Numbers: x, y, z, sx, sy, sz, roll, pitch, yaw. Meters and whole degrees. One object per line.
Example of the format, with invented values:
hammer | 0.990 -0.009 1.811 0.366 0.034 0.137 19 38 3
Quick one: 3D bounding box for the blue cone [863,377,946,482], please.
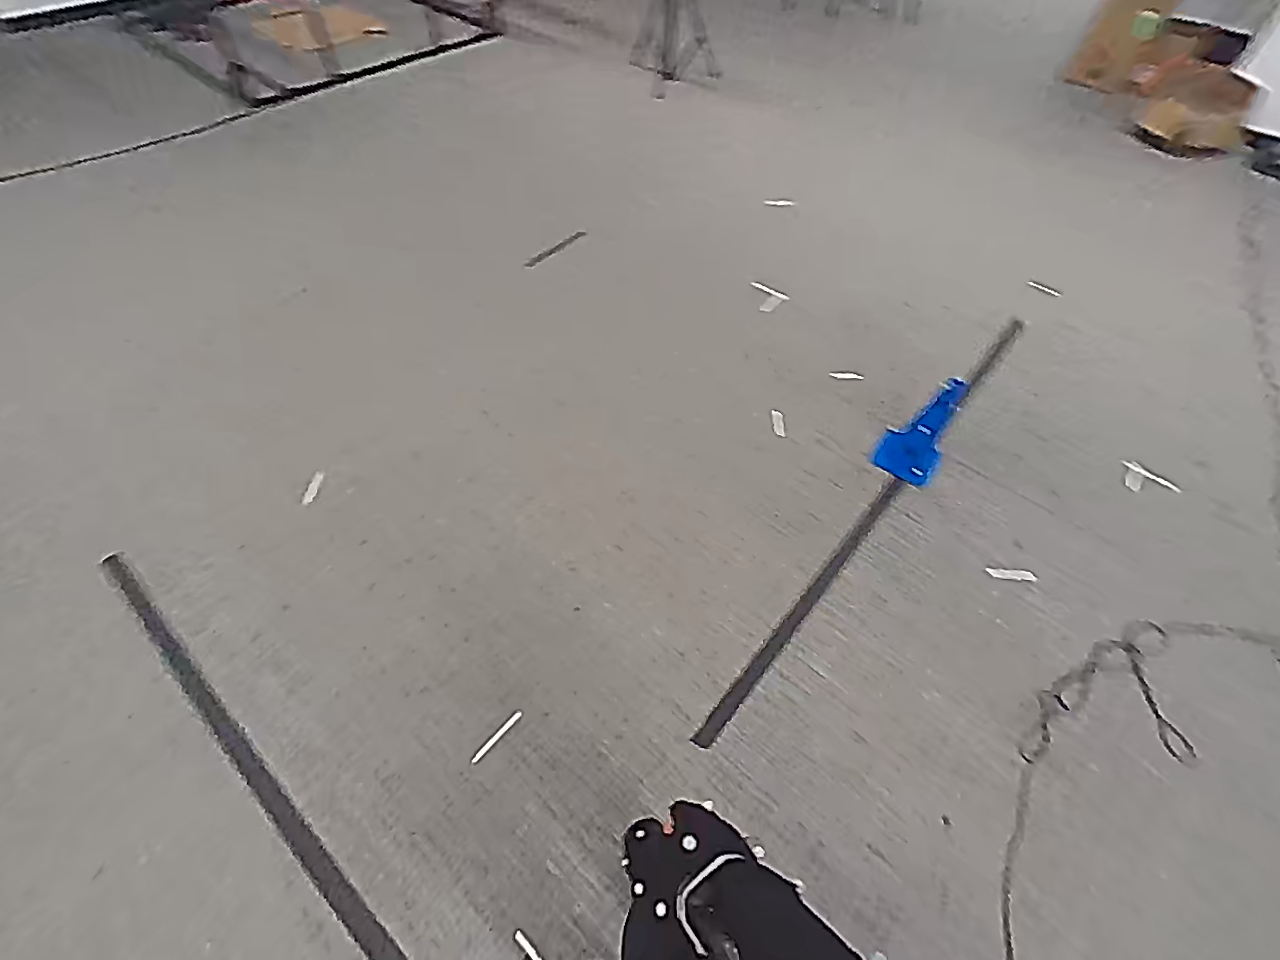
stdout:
blue cone | 0.905 -0.182 1.768 0.192 0.380 0.193 32 58 20
